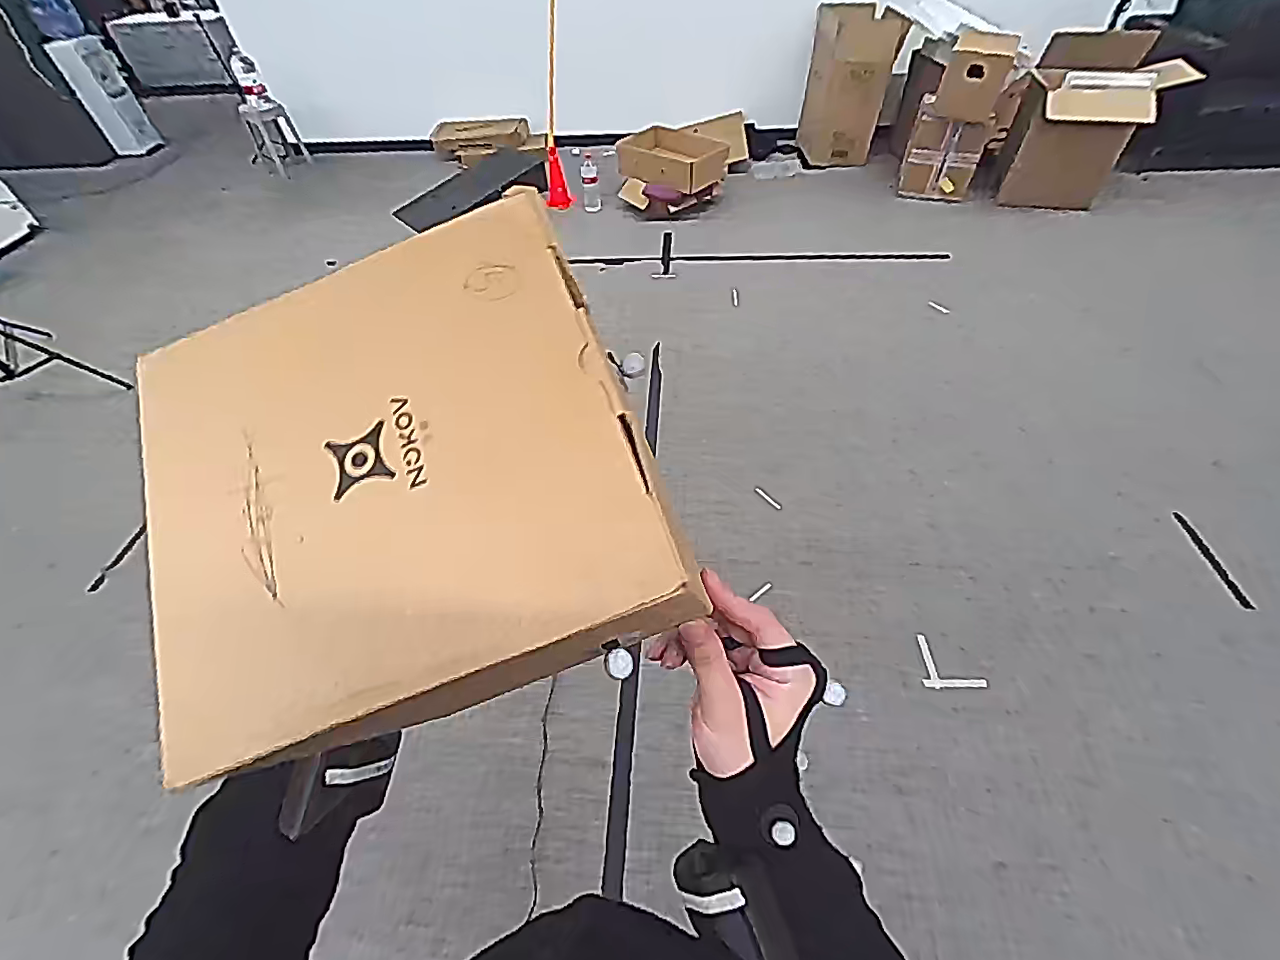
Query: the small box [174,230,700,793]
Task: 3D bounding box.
[{"bbox_3d":[-0.077,0.022,0.277,0.179,0.176,0.168,-24,71,4],"label":"small box"}]
